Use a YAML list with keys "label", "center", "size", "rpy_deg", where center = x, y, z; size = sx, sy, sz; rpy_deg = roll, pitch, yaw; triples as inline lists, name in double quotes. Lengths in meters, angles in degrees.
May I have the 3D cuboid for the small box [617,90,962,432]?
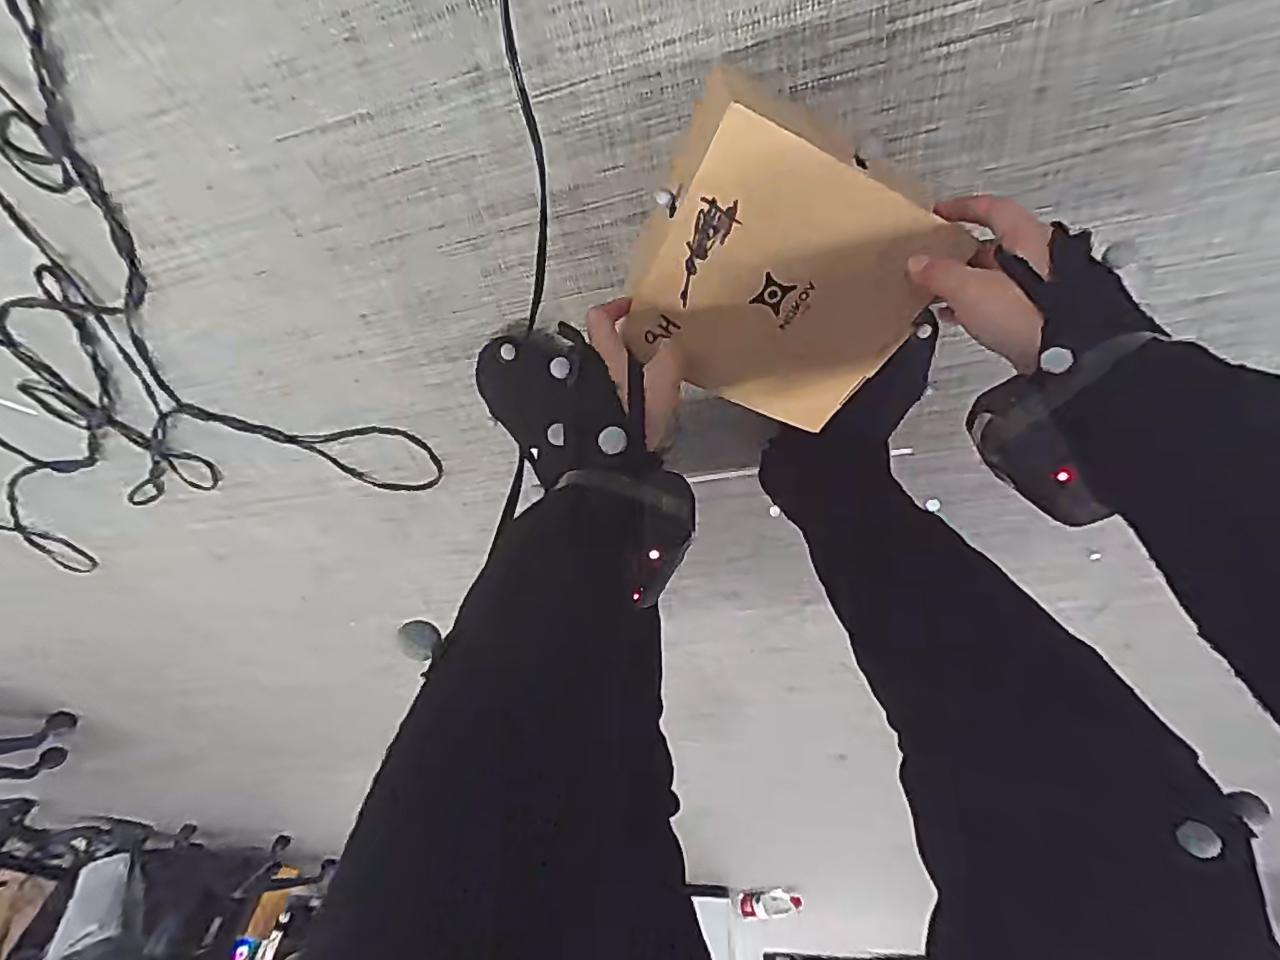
- label: "small box"
  center: [0.096, -0.173, 0.425]
  size: [0.179, 0.176, 0.168]
  rpy_deg: [19, 130, -14]
